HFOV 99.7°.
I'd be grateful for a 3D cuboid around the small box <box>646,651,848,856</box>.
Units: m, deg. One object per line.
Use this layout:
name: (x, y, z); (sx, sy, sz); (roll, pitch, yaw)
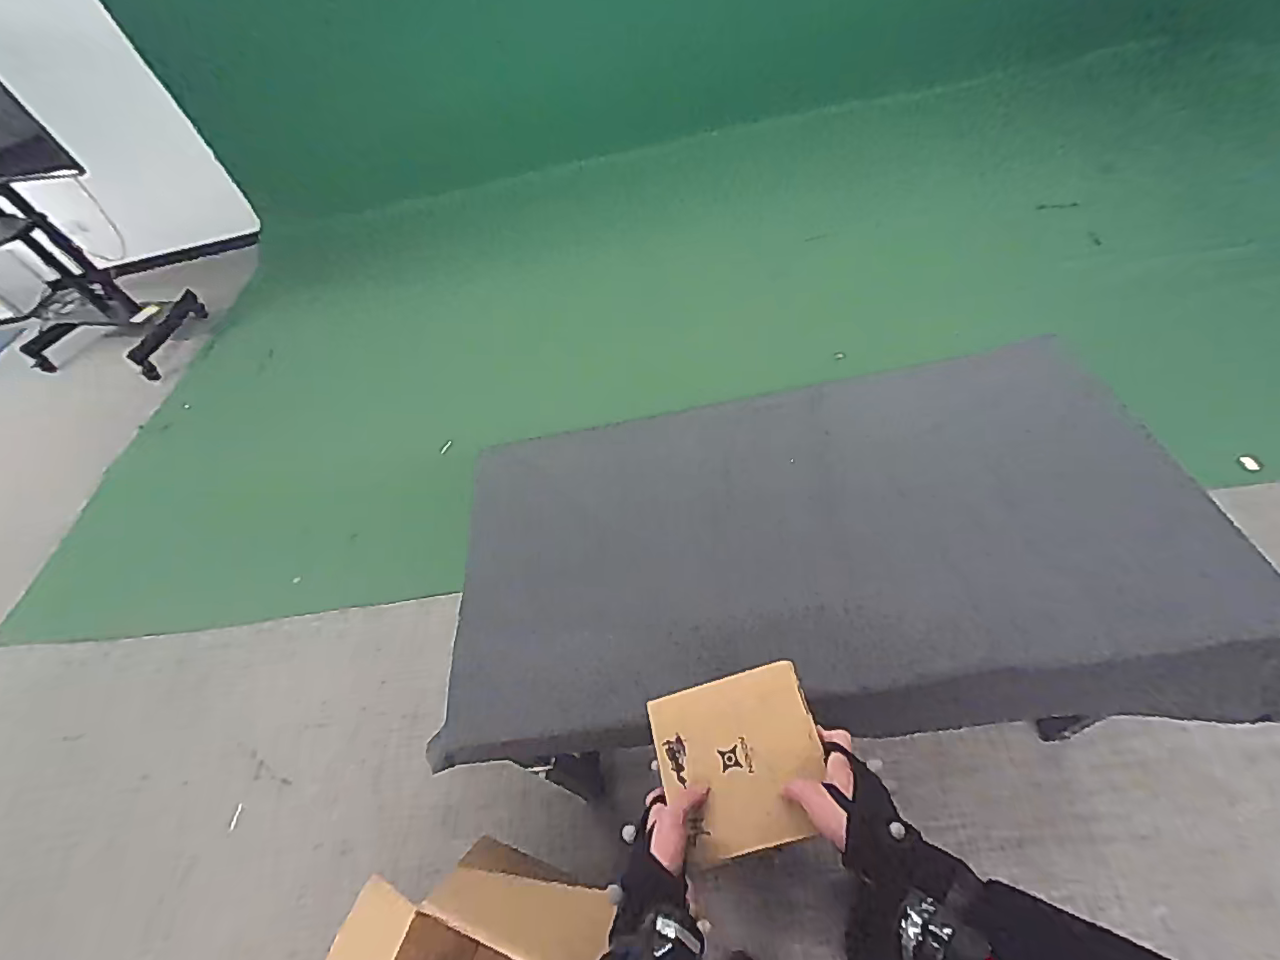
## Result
small box: (0.124, 0.323, 0.635); (0.179, 0.176, 0.168); (-19, 53, 7)
